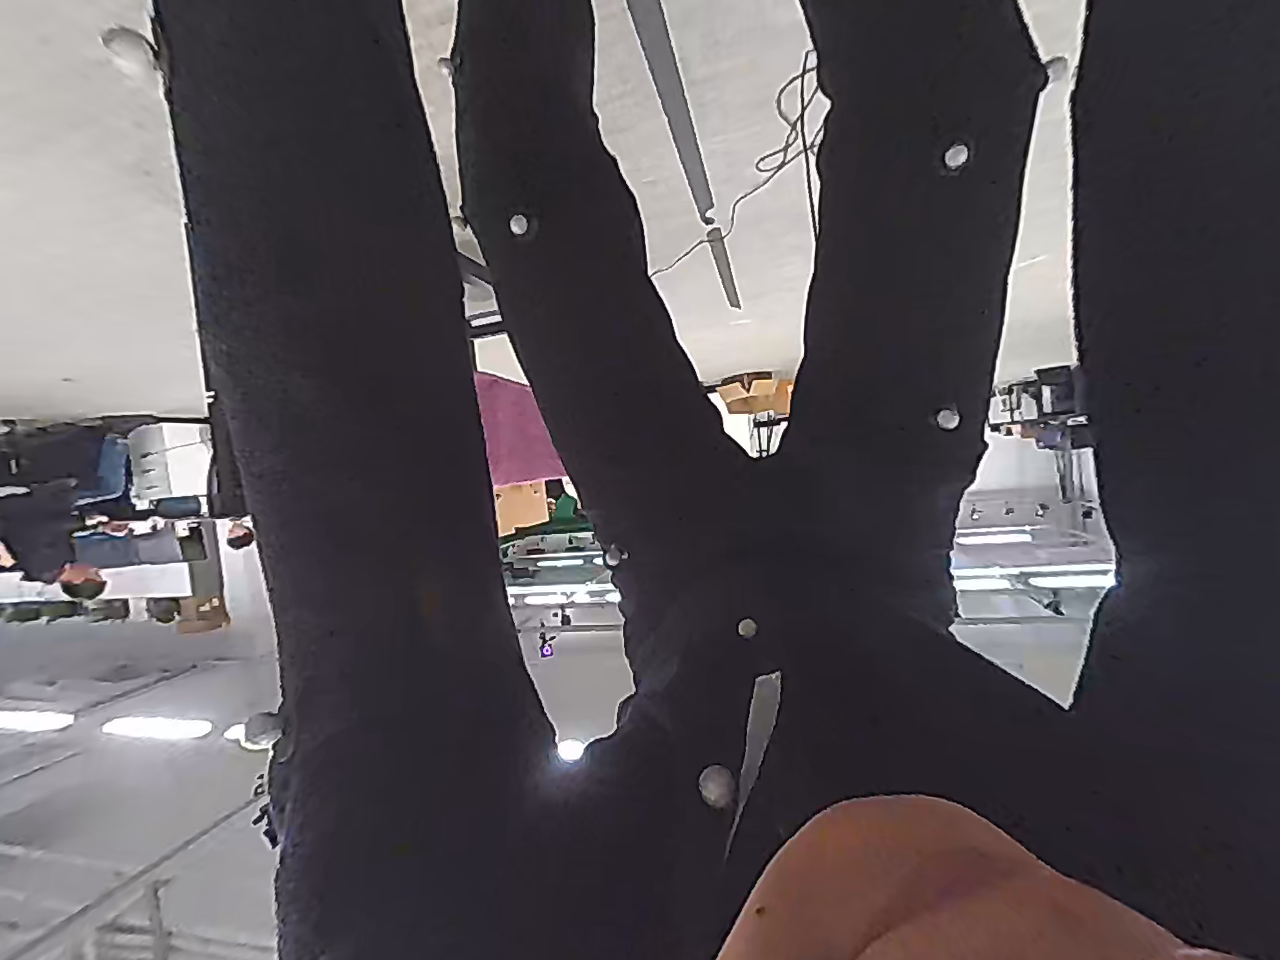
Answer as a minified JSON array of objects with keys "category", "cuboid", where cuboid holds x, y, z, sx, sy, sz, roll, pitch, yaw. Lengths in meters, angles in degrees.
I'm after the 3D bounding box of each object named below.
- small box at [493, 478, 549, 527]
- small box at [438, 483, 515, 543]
[{"category":"small box","cuboid":[-0.462,0.084,2.029,0.179,0.176,0.168,-6,-178,20]},{"category":"small box","cuboid":[-0.526,0.102,1.730,0.179,0.176,0.168,-5,-177,26]}]
